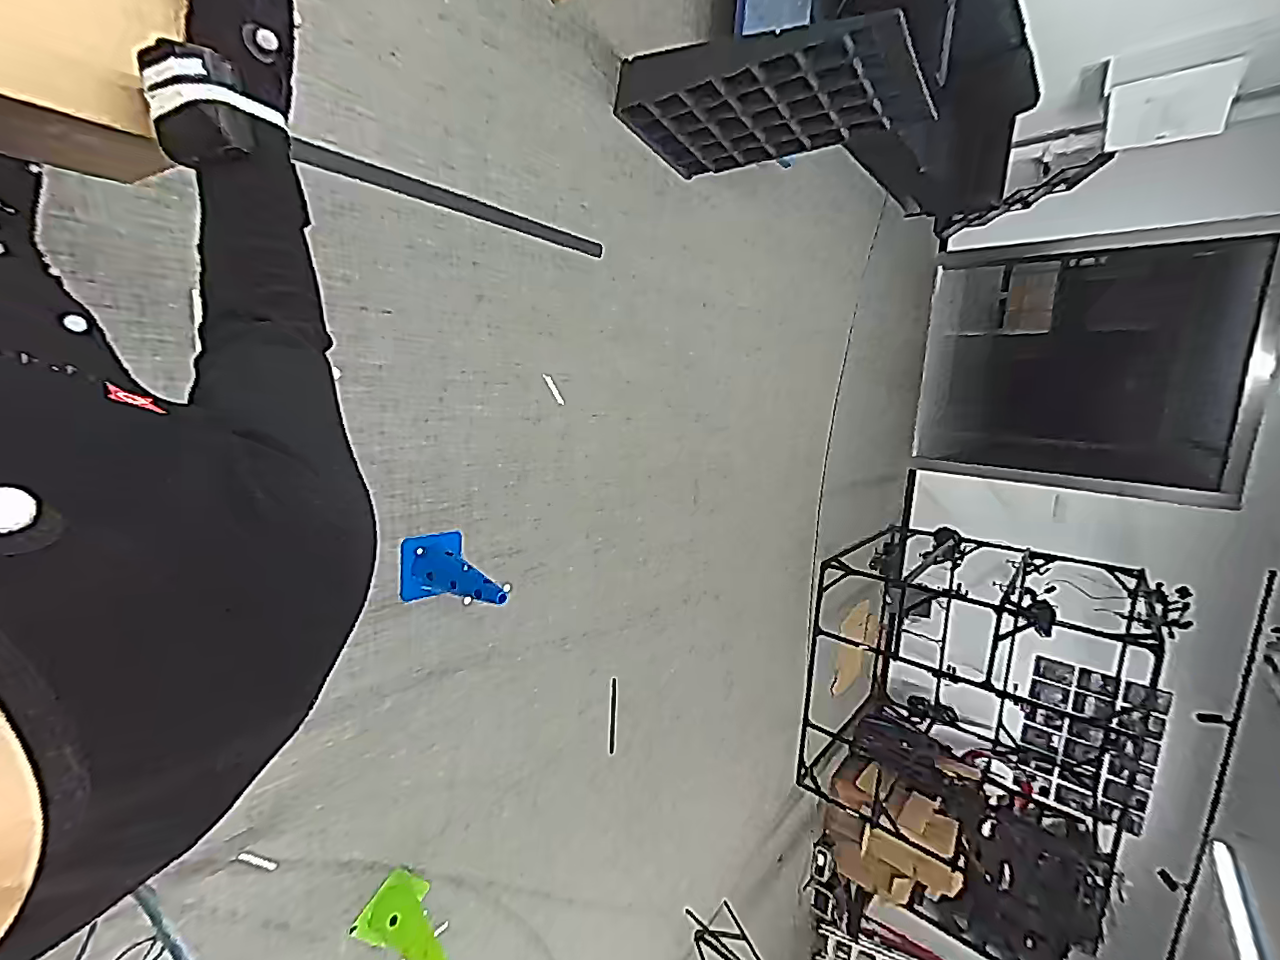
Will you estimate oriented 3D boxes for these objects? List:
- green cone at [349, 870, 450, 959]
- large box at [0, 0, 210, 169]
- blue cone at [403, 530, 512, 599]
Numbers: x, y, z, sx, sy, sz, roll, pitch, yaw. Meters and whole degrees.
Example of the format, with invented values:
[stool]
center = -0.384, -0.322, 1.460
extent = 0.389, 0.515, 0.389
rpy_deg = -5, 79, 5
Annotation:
[green cone]
center = -0.666, 1.399, 1.626
extent = 0.202, 0.368, 0.200
rpy_deg = -52, 135, -32
[large box]
center = -0.559, -0.430, 0.323
extent = 0.408, 0.320, 0.320
rpy_deg = -9, 112, -51
[blue cone]
center = -0.514, 0.279, 1.573
extent = 0.192, 0.380, 0.193
rpy_deg = -3, 101, -52
